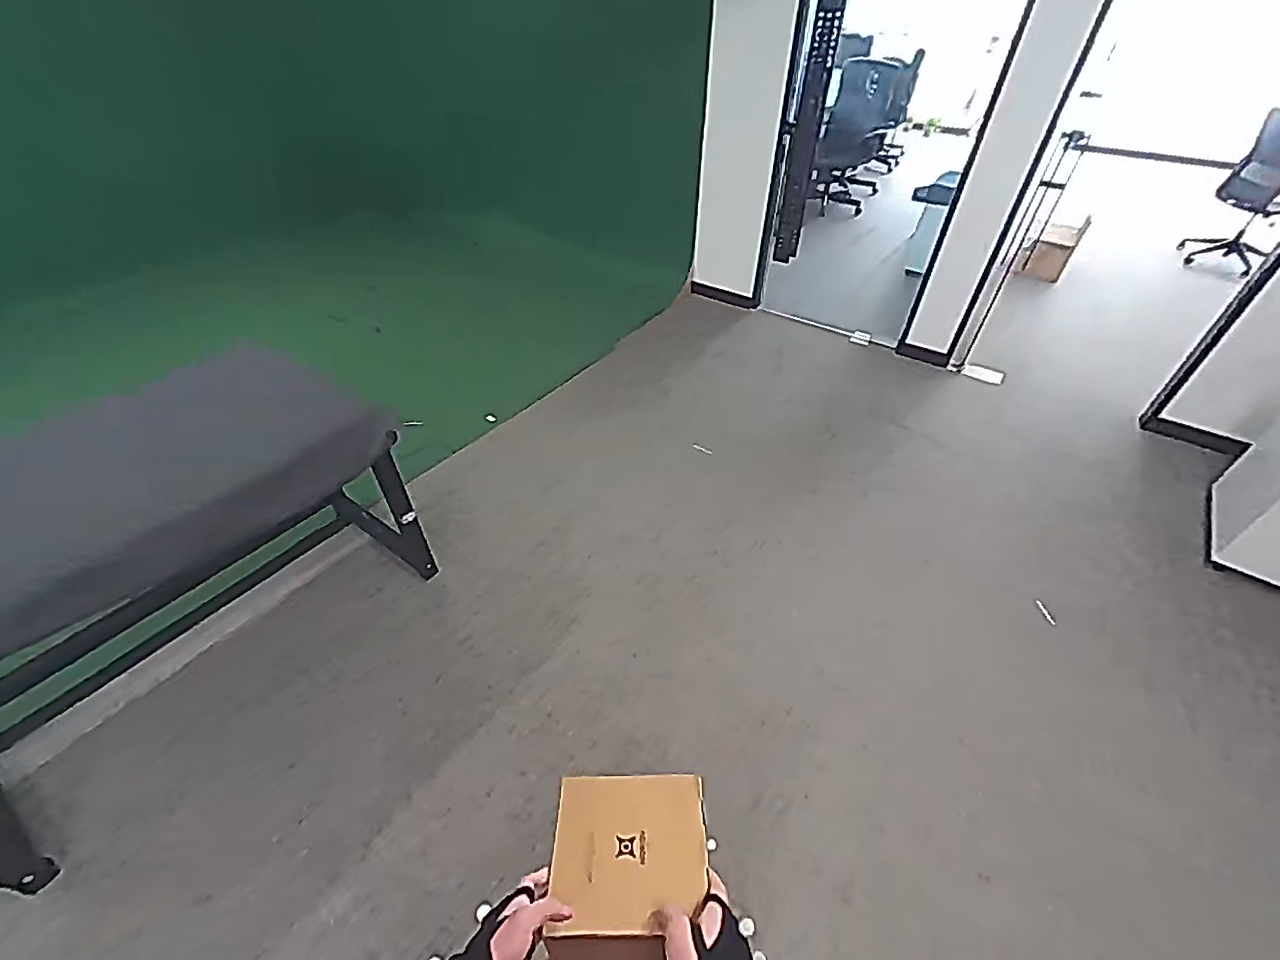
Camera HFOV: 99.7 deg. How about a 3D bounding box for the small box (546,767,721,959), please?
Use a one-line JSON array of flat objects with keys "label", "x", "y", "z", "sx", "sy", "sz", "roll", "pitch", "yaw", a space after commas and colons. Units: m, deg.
[{"label": "small box", "x": -0.001, "y": 0.471, "z": 0.643, "sx": 0.179, "sy": 0.176, "sz": 0.168, "roll": -2, "pitch": 29, "yaw": 3}]
